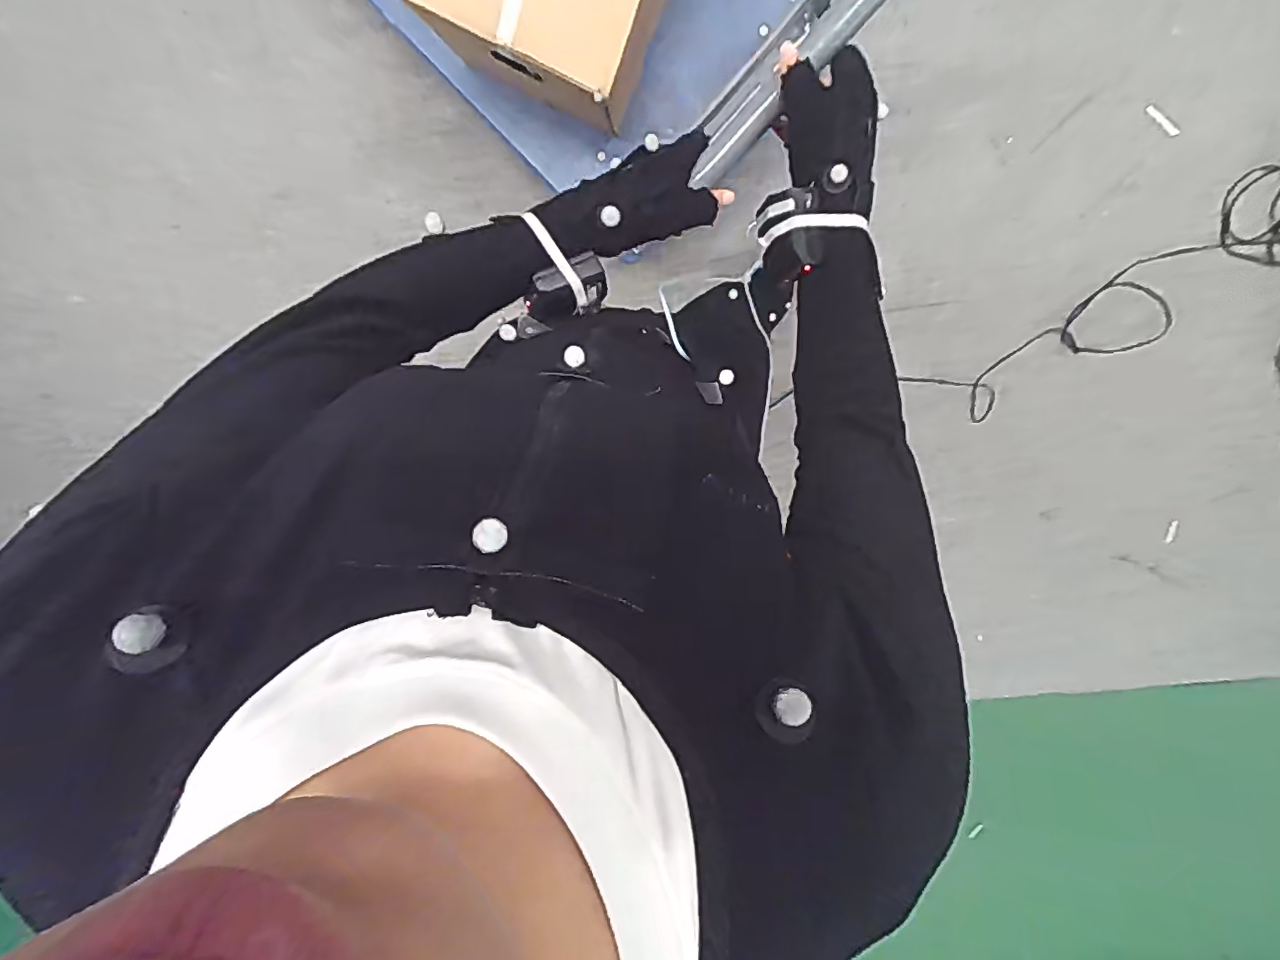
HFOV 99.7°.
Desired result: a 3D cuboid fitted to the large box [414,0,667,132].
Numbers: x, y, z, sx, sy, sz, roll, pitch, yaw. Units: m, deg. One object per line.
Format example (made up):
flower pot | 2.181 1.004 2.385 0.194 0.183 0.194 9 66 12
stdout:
large box | -0.099 -0.831 0.818 0.320 0.320 0.408 22 113 -8
